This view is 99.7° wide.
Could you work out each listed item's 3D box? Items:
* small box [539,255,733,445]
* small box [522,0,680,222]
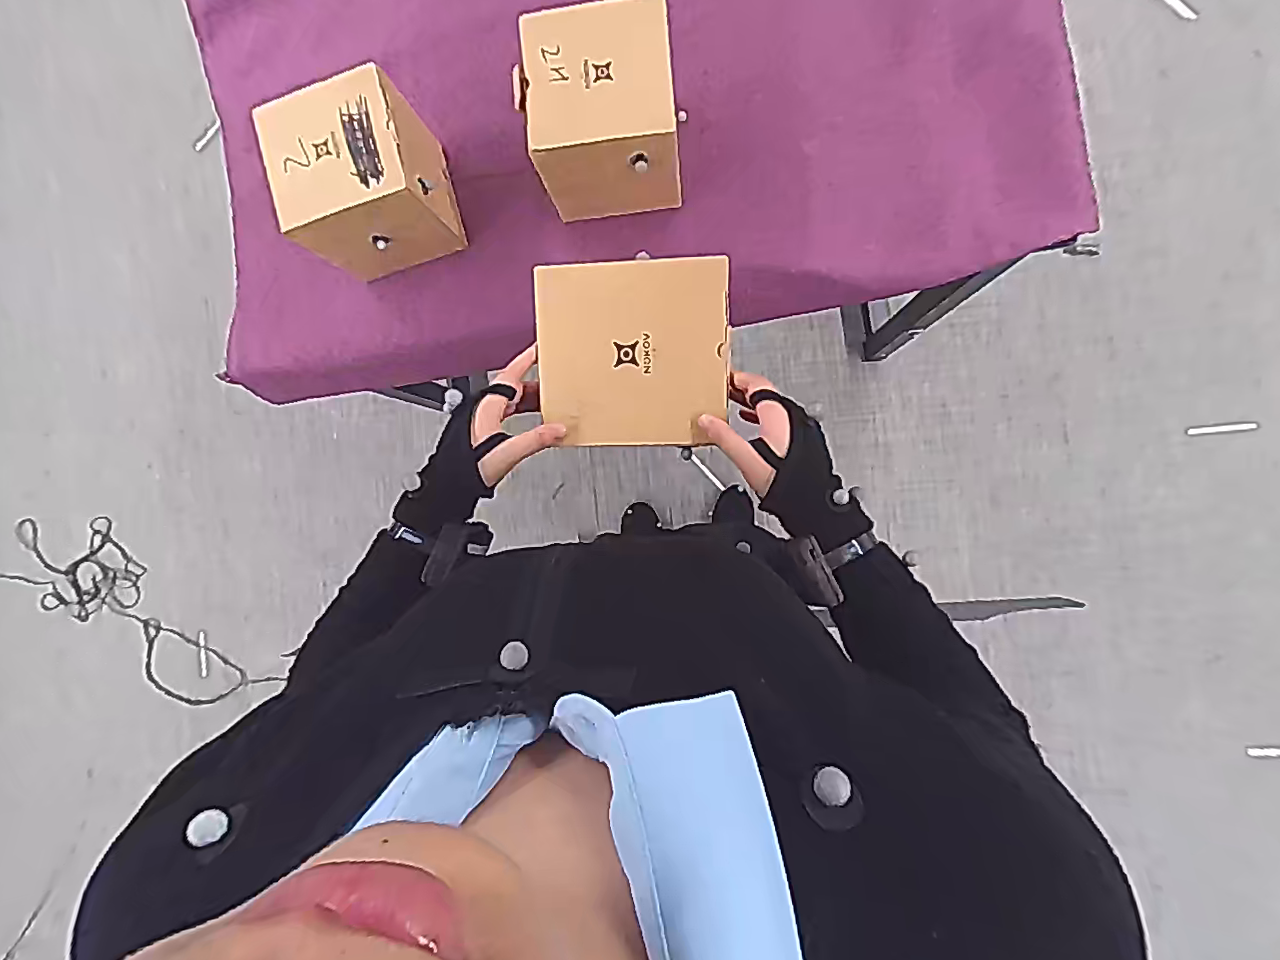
[{"bbox_3d":[0.004,-0.120,0.564,0.179,0.176,0.168,-1,95,6],"label":"small box"},{"bbox_3d":[-0.040,-0.464,0.705,0.179,0.176,0.168,-5,88,7],"label":"small box"}]
